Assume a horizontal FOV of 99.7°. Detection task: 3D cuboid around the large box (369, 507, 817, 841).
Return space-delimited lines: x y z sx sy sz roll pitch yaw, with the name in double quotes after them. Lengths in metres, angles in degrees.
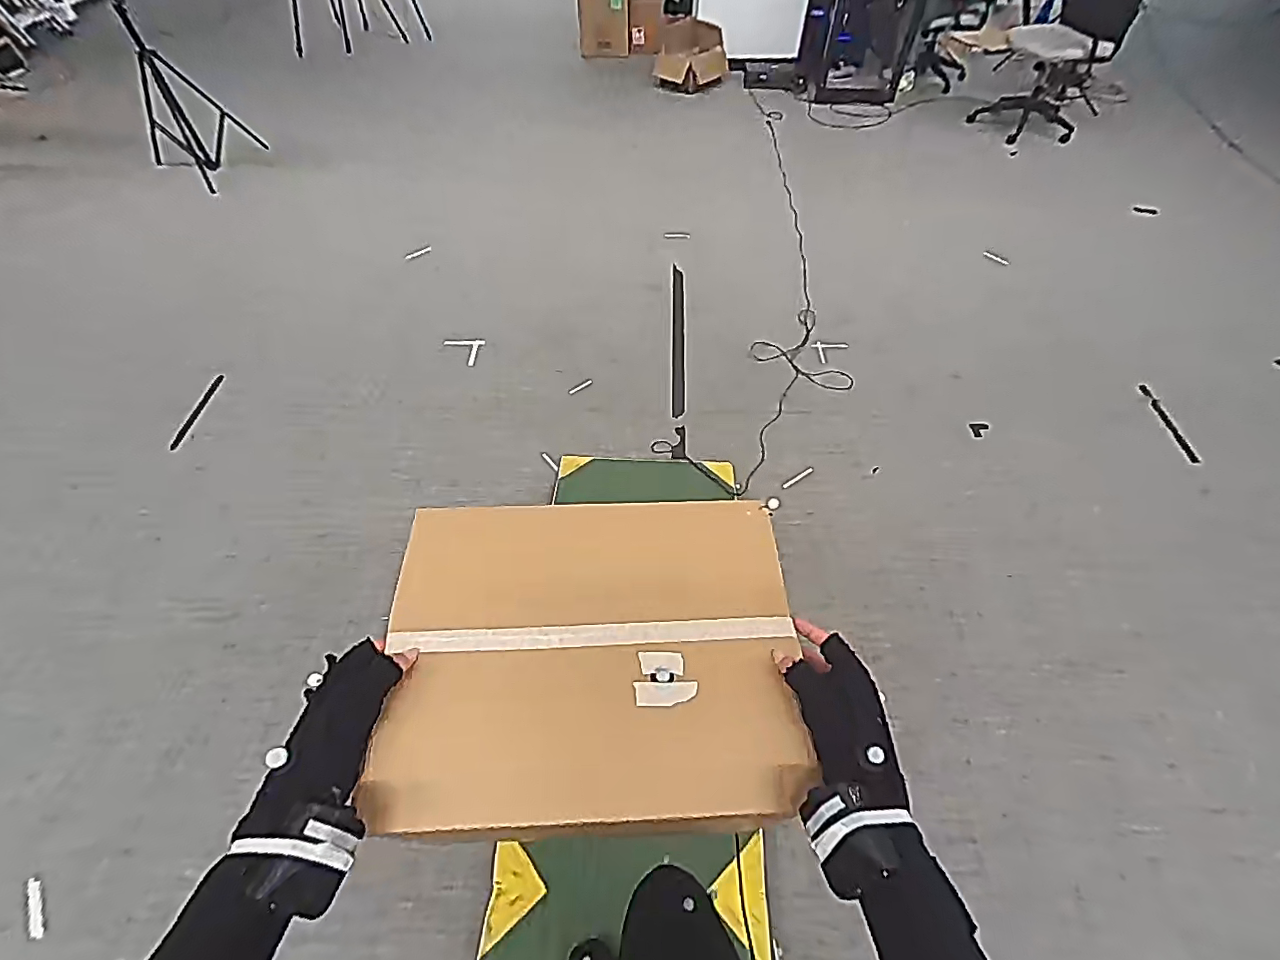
-0.051 0.248 0.678 0.408 0.320 0.320 -1 55 -3 "large box"
